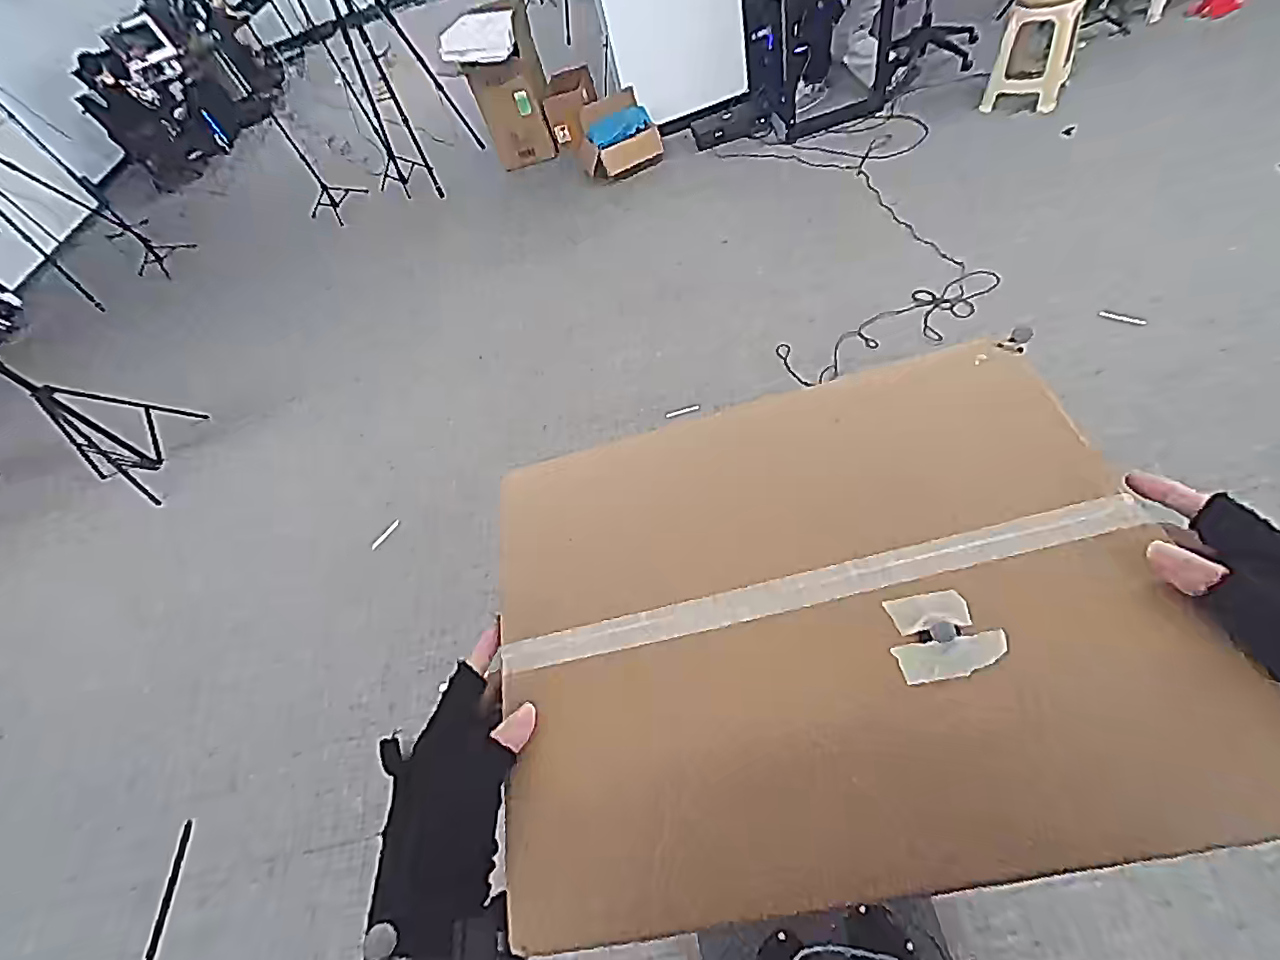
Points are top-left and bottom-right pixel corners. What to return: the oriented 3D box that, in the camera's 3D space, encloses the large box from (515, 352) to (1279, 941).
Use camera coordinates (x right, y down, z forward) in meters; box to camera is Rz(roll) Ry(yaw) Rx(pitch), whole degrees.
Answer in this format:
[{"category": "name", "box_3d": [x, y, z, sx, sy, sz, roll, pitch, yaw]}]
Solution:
[{"category": "large box", "box_3d": [0.140, 0.153, 0.480, 0.408, 0.320, 0.320, -15, 57, 7]}]
